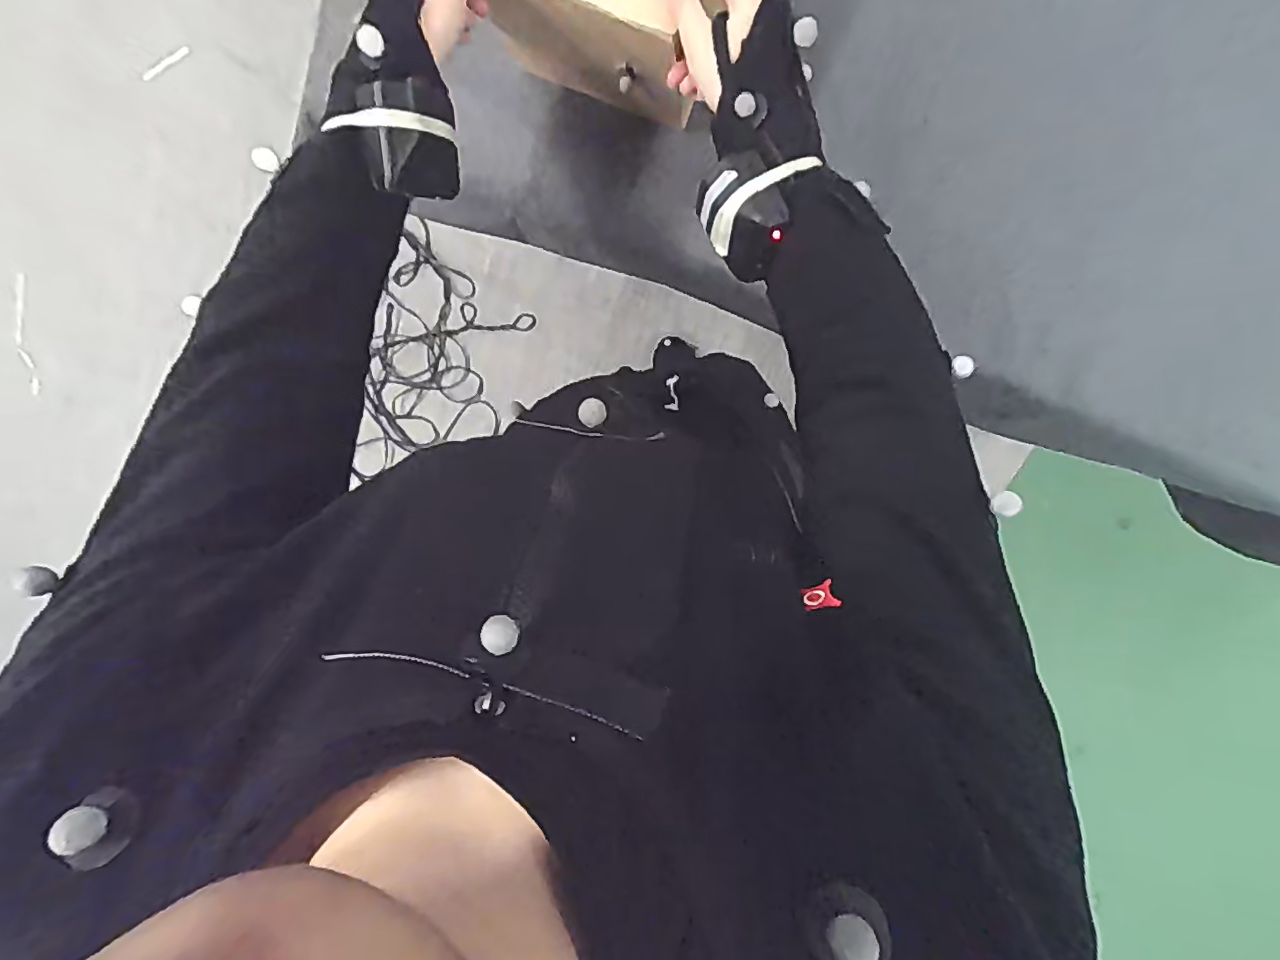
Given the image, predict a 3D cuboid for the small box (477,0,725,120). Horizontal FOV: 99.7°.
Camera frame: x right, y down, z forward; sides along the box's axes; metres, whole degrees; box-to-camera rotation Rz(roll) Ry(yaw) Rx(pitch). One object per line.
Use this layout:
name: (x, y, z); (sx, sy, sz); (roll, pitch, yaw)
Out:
small box: (-0.018, -0.424, 0.429); (0.179, 0.176, 0.168); (20, 103, 2)
